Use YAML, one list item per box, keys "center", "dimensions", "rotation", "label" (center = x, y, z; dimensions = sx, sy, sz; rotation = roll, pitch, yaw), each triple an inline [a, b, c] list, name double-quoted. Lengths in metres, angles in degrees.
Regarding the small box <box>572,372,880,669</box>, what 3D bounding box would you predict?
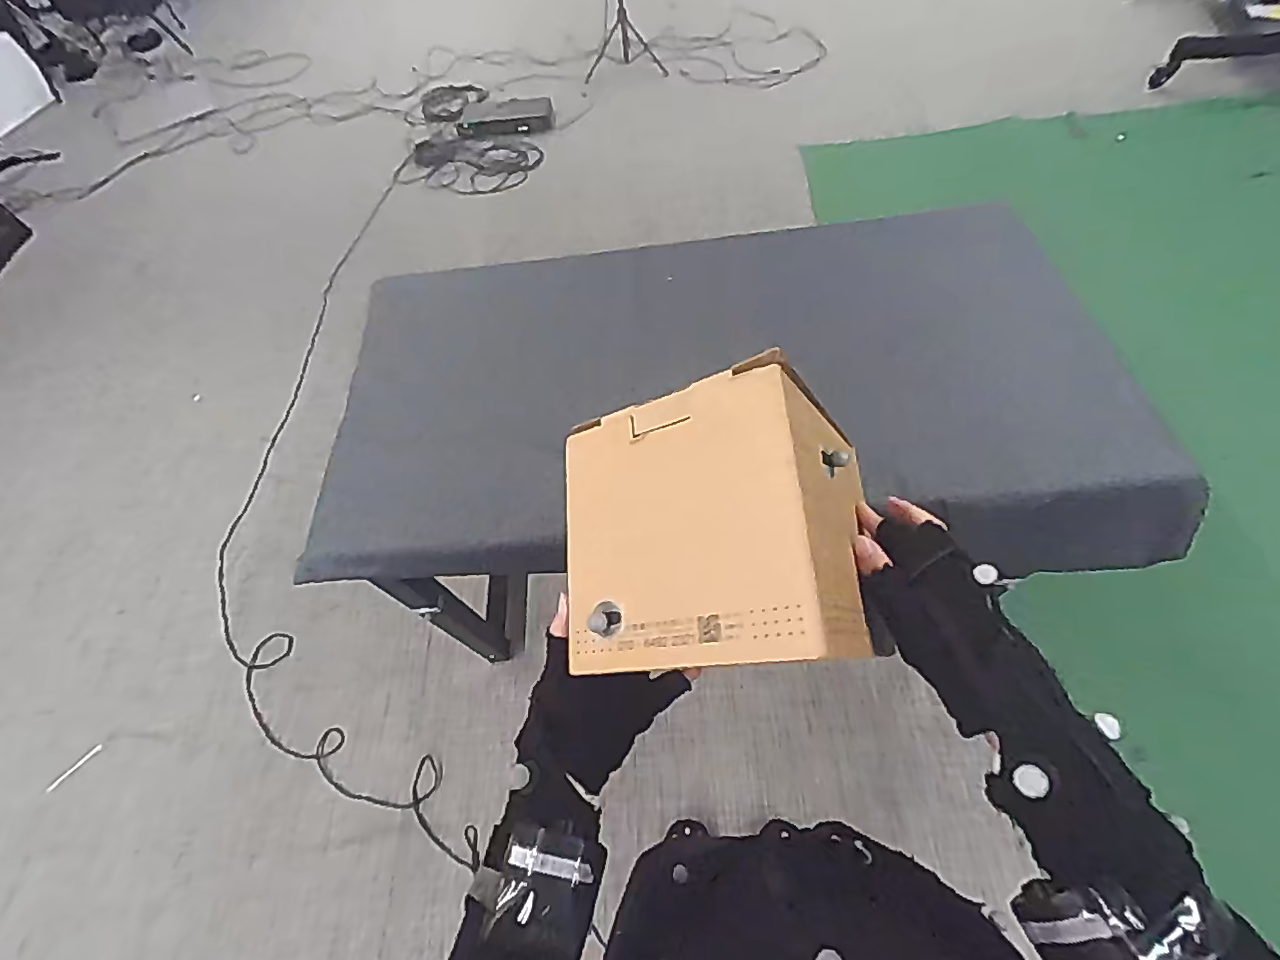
- center: [0.068, 0.050, 0.413]
  dimensions: [0.168, 0.179, 0.176]
  rotation: [-16, 66, 31]
  label: "small box"
